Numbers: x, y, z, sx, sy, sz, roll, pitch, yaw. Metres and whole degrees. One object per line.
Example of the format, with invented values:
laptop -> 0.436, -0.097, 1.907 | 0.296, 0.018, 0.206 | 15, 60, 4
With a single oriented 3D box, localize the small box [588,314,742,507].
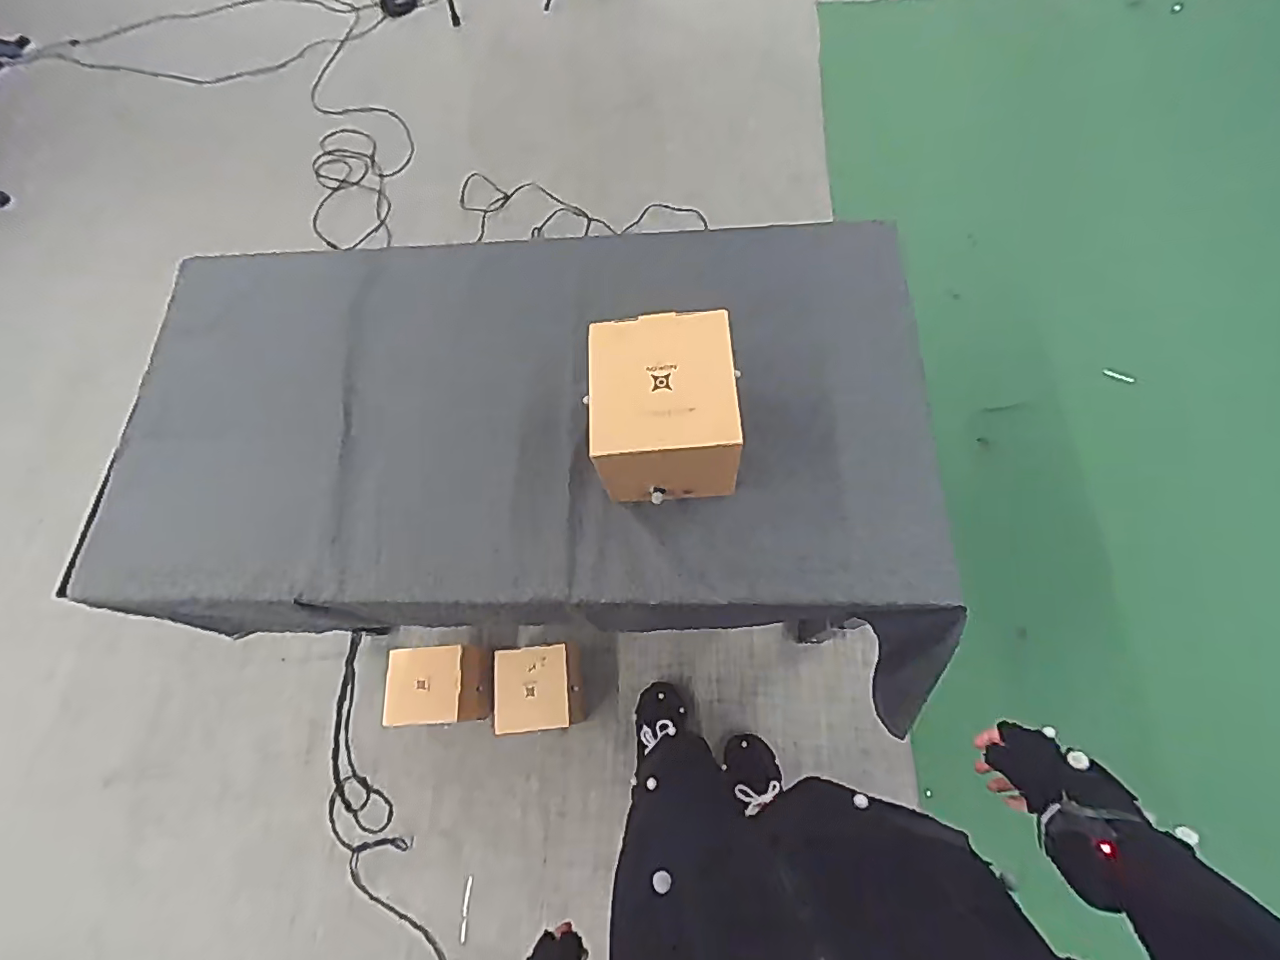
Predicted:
small box -> 0.031, -0.078, 0.670 | 0.168, 0.176, 0.179 | -4, 69, 5
